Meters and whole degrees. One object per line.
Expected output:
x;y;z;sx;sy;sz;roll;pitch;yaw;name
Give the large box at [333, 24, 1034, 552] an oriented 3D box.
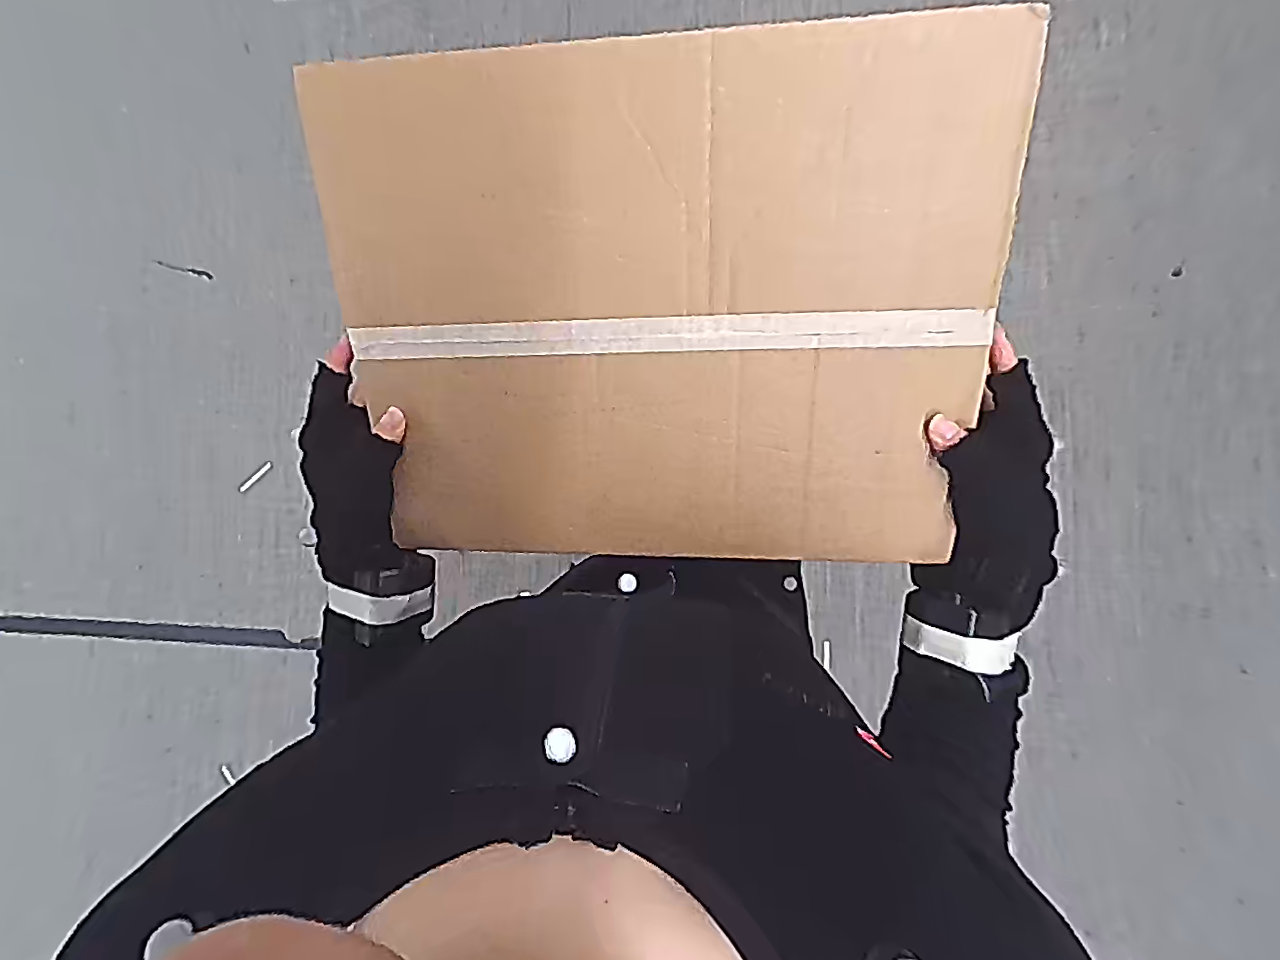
0.029;-0.142;0.491;0.408;0.320;0.320;1;111;7;large box
